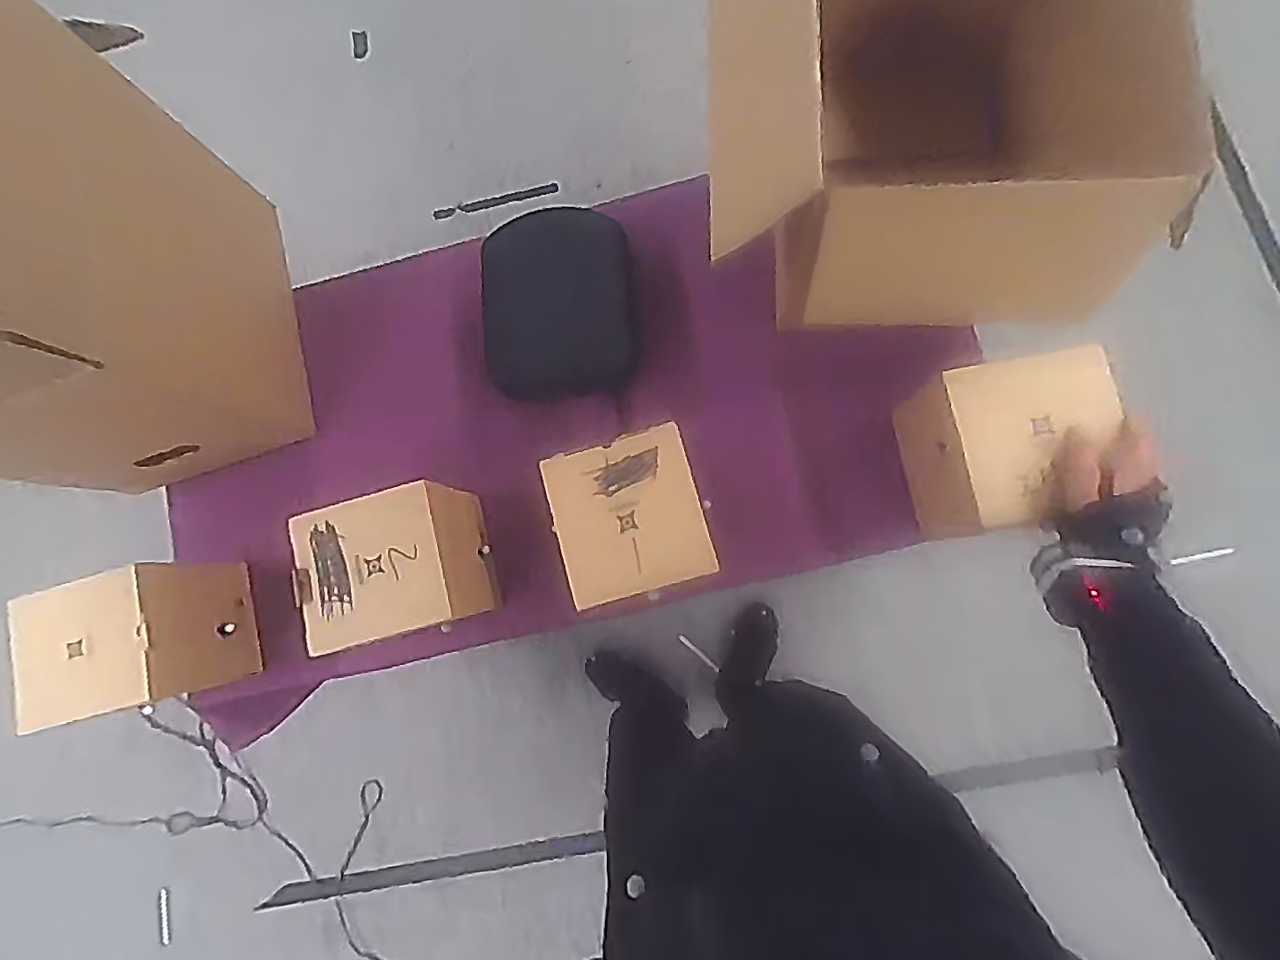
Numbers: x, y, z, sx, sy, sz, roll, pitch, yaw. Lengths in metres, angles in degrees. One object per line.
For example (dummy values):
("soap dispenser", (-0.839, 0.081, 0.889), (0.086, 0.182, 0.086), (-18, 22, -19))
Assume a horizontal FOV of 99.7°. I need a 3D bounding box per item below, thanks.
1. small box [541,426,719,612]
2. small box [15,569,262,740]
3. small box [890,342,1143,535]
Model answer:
("small box", (-0.007, 0.054, 0.679), (0.168, 0.176, 0.179), (-17, 81, 4))
("small box", (-0.658, 0.222, 0.726), (0.179, 0.176, 0.168), (-17, 80, 2))
("small box", (0.421, -0.037, 0.642), (0.168, 0.176, 0.179), (-11, 80, 6))
